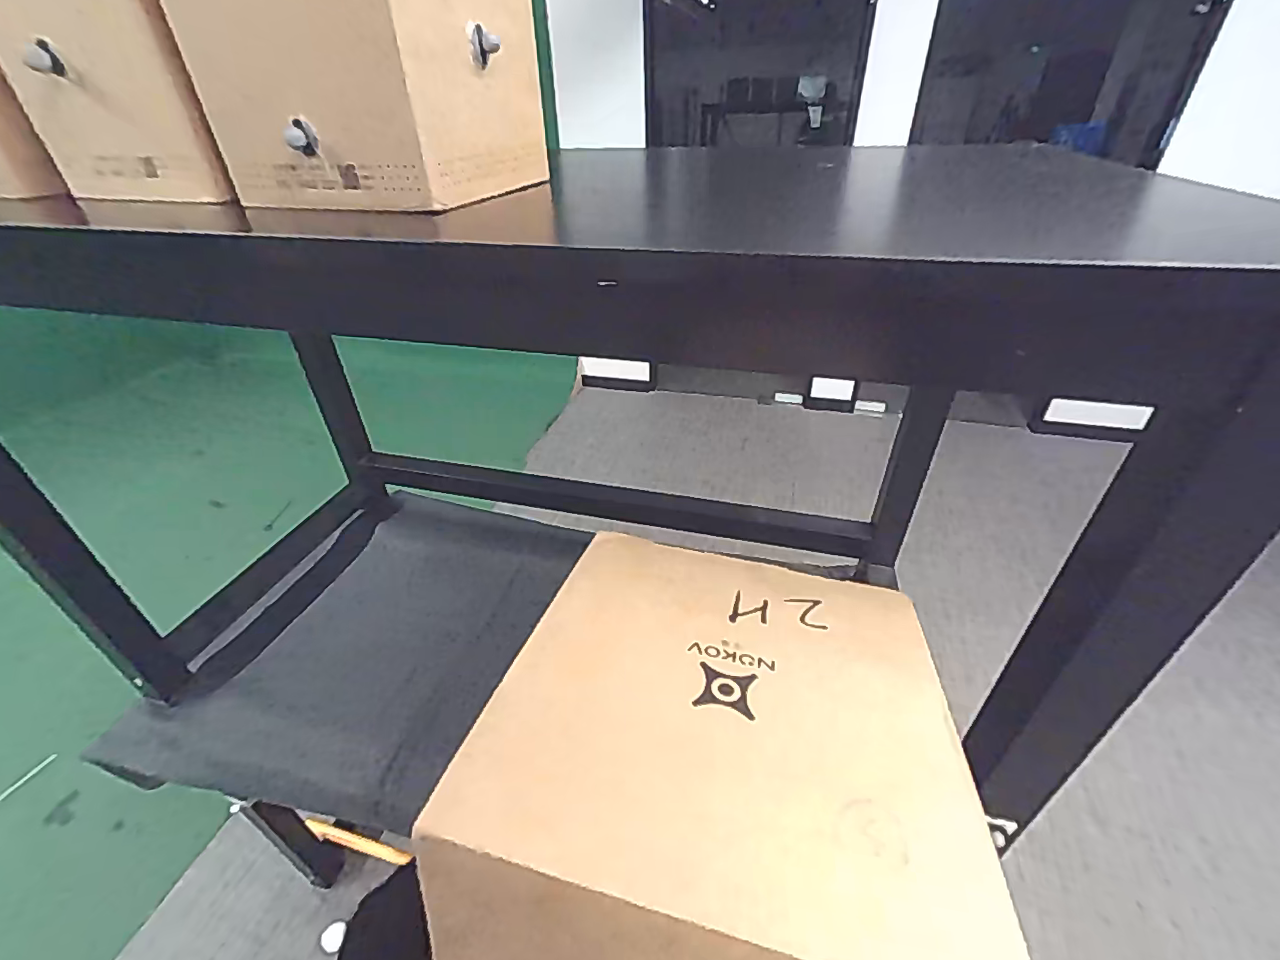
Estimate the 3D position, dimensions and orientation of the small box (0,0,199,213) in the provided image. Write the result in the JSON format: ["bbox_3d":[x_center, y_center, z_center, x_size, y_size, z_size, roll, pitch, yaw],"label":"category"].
[{"bbox_3d":[-0.558,-0.354,0.493,0.168,0.176,0.179,9,37,14],"label":"small box"}]

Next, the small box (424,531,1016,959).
[{"bbox_3d":[0.030,0.151,0.250,0.168,0.176,0.179,11,27,11],"label":"small box"}]
